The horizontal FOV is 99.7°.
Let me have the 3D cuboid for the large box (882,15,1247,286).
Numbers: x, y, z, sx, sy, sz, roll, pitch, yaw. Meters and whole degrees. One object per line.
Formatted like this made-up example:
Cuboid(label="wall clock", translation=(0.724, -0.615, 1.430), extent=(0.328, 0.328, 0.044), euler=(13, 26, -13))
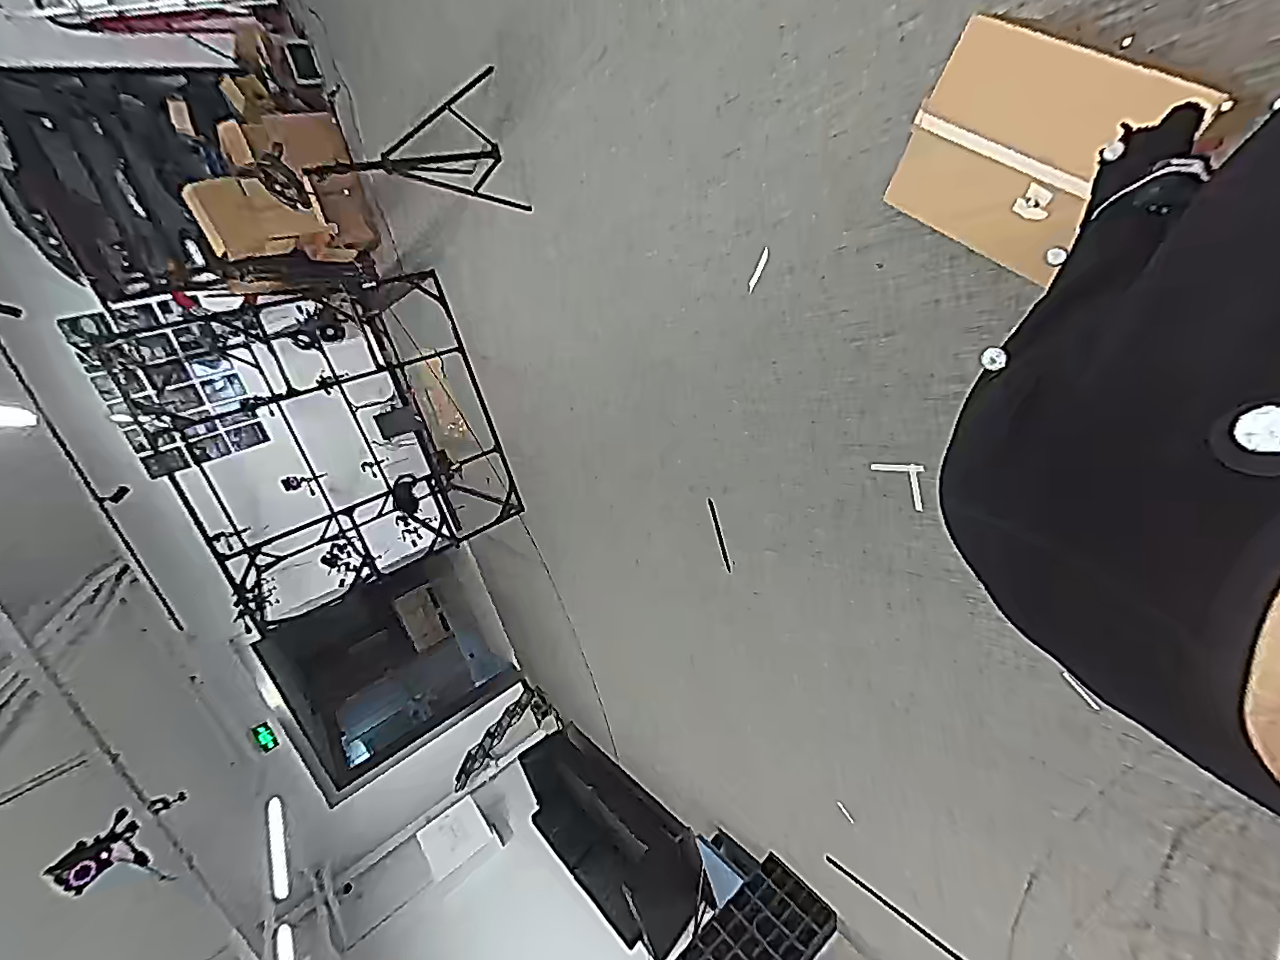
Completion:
Cuboid(label="large box", translation=(0.773, -0.633, 1.031), extent=(0.408, 0.320, 0.320), euler=(46, 145, 25))
